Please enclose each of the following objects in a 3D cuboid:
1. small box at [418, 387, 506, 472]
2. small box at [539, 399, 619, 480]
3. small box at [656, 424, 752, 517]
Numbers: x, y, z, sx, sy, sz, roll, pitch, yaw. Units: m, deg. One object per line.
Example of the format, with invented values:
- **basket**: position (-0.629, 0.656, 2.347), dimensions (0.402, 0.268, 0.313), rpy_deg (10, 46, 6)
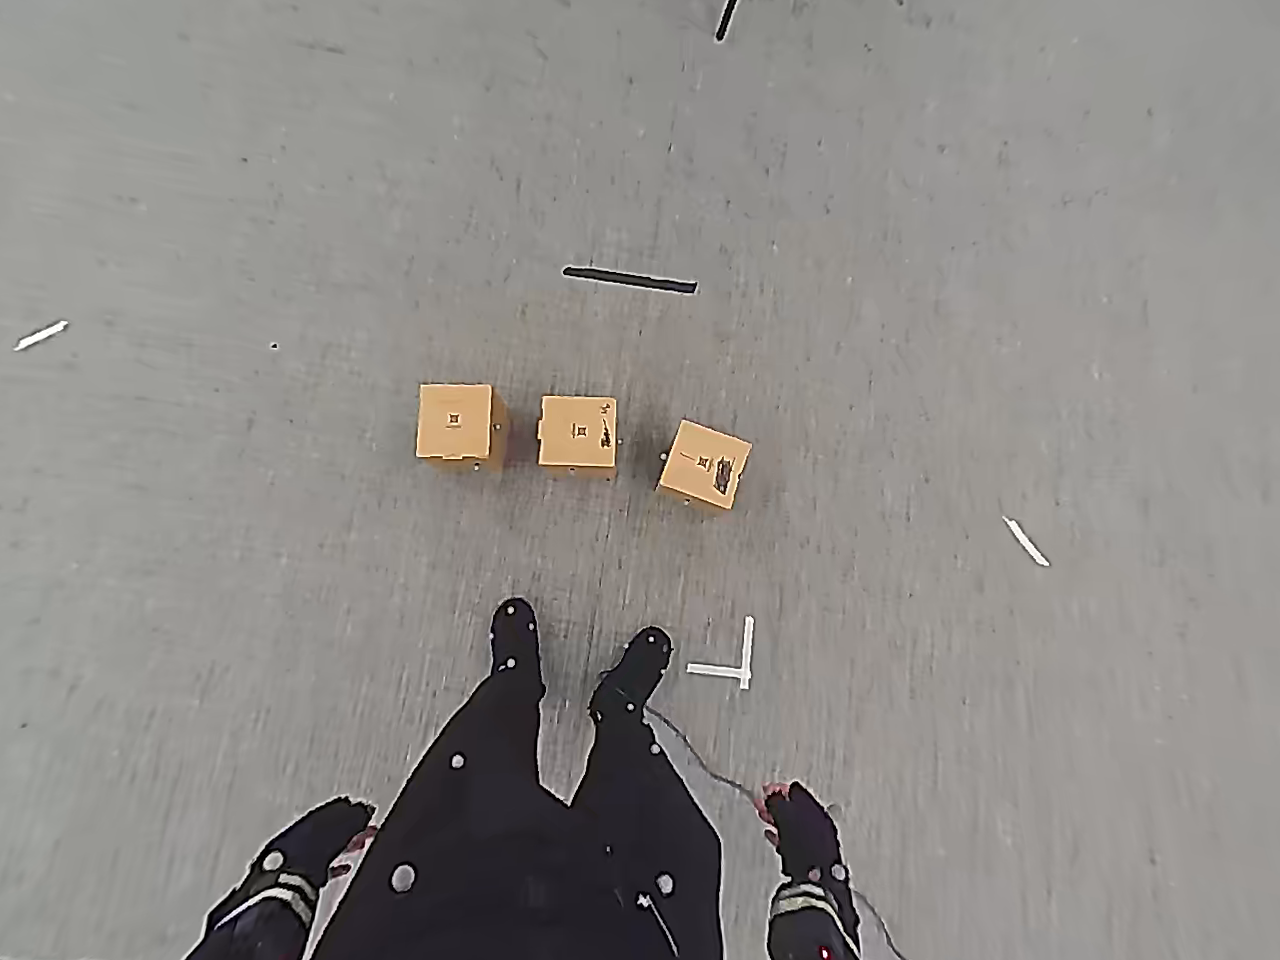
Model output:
- **small box**: position (-0.427, -0.116, 1.319), dimensions (0.168, 0.176, 0.179), rpy_deg (0, 80, -3)
- **small box**: position (-0.144, -0.093, 1.324), dimensions (0.179, 0.176, 0.168), rpy_deg (2, 81, -1)
- **small box**: position (0.149, -0.015, 1.323), dimensions (0.179, 0.176, 0.168), rpy_deg (20, 80, 2)
